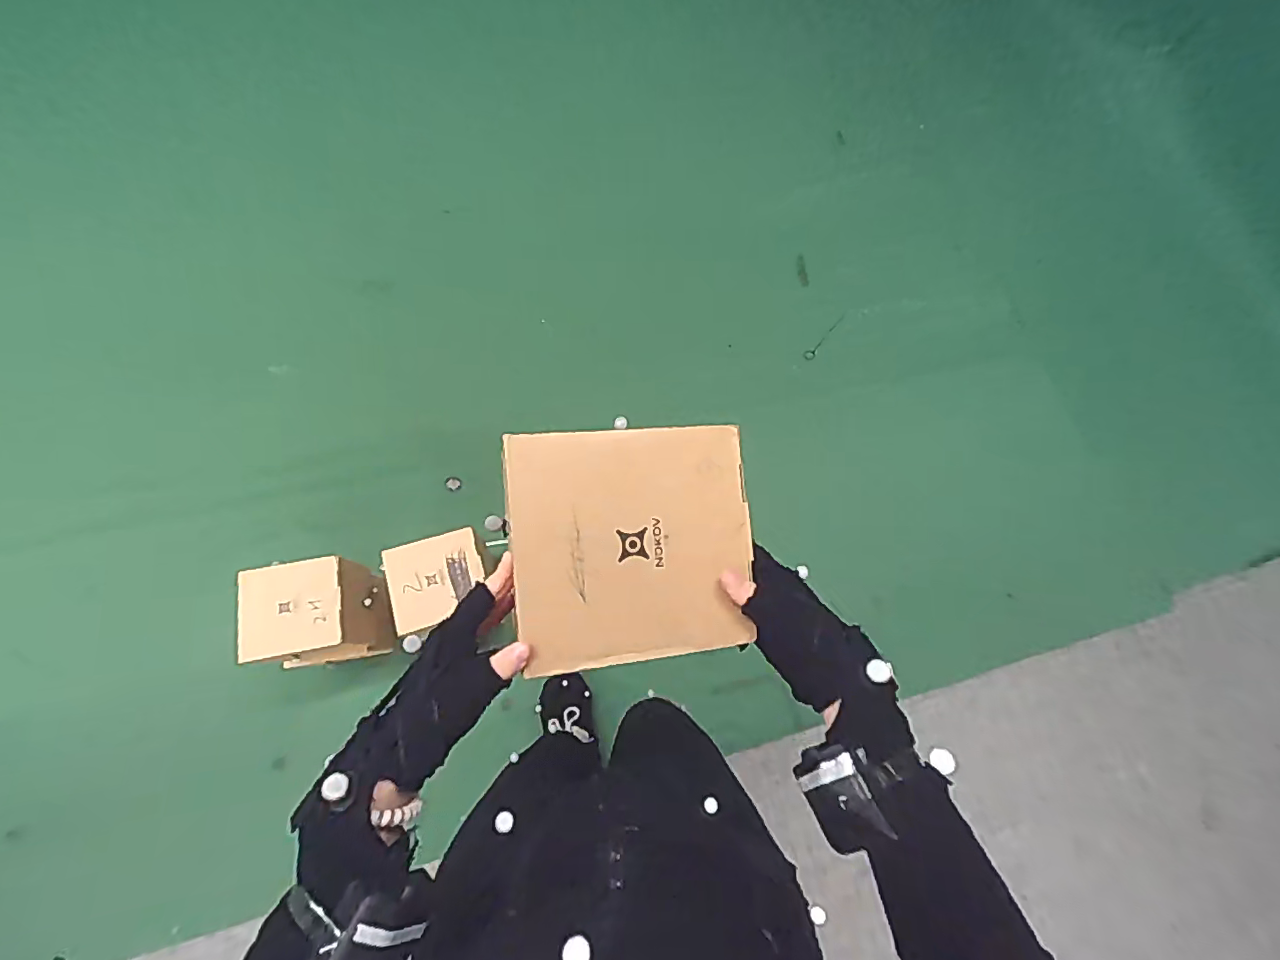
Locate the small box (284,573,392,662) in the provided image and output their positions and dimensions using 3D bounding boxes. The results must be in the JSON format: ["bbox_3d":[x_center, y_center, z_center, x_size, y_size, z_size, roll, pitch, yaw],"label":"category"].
[{"bbox_3d":[-0.671,0.303,1.217,0.168,0.176,0.179,-8,74,-9],"label":"small box"}]

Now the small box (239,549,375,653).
[{"bbox_3d":[-0.646,0.244,1.065,0.179,0.176,0.168,-9,74,-9],"label":"small box"}]
